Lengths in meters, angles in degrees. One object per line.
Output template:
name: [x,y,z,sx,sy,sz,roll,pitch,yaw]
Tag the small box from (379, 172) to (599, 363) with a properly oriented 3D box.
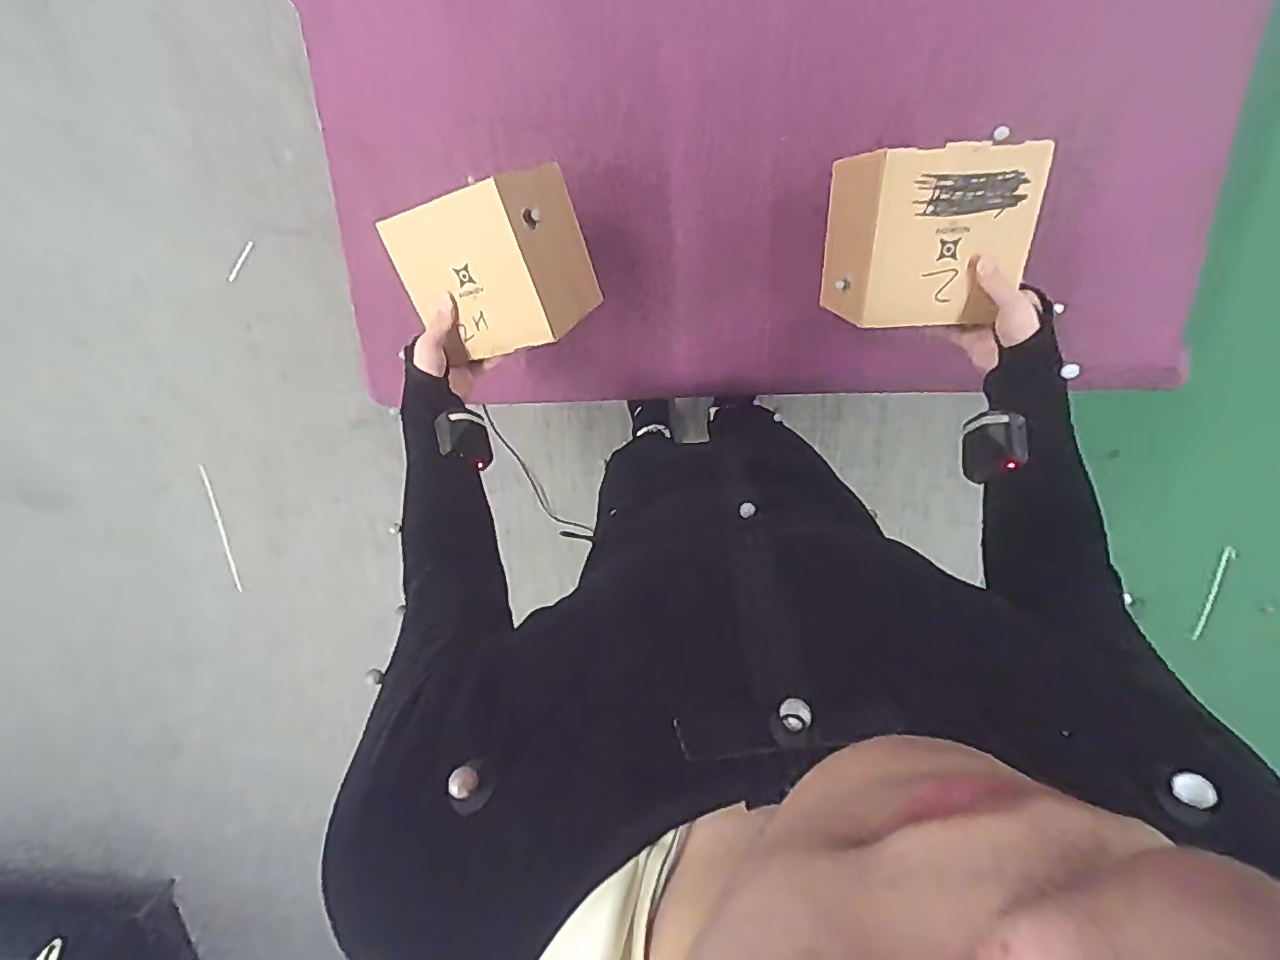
small box: [-0.173,-0.268,0.675,0.168,0.176,0.179,-6,120,24]
